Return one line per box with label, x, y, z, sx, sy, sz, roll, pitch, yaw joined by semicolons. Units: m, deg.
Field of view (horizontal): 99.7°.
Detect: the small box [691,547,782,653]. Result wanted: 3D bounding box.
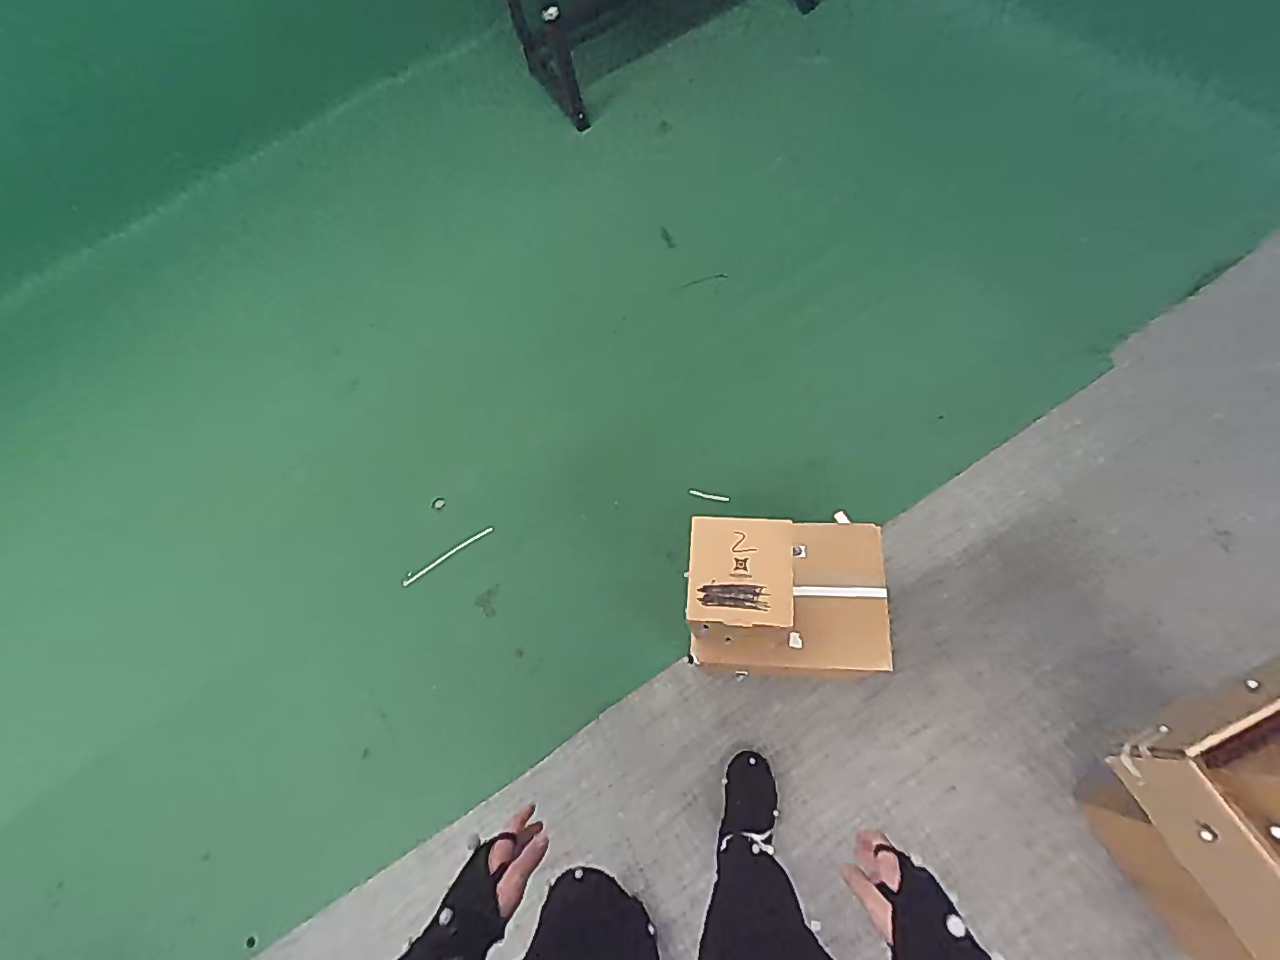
small box;0.192;0.244;1.086;0.168;0.176;0.179;2;69;10
